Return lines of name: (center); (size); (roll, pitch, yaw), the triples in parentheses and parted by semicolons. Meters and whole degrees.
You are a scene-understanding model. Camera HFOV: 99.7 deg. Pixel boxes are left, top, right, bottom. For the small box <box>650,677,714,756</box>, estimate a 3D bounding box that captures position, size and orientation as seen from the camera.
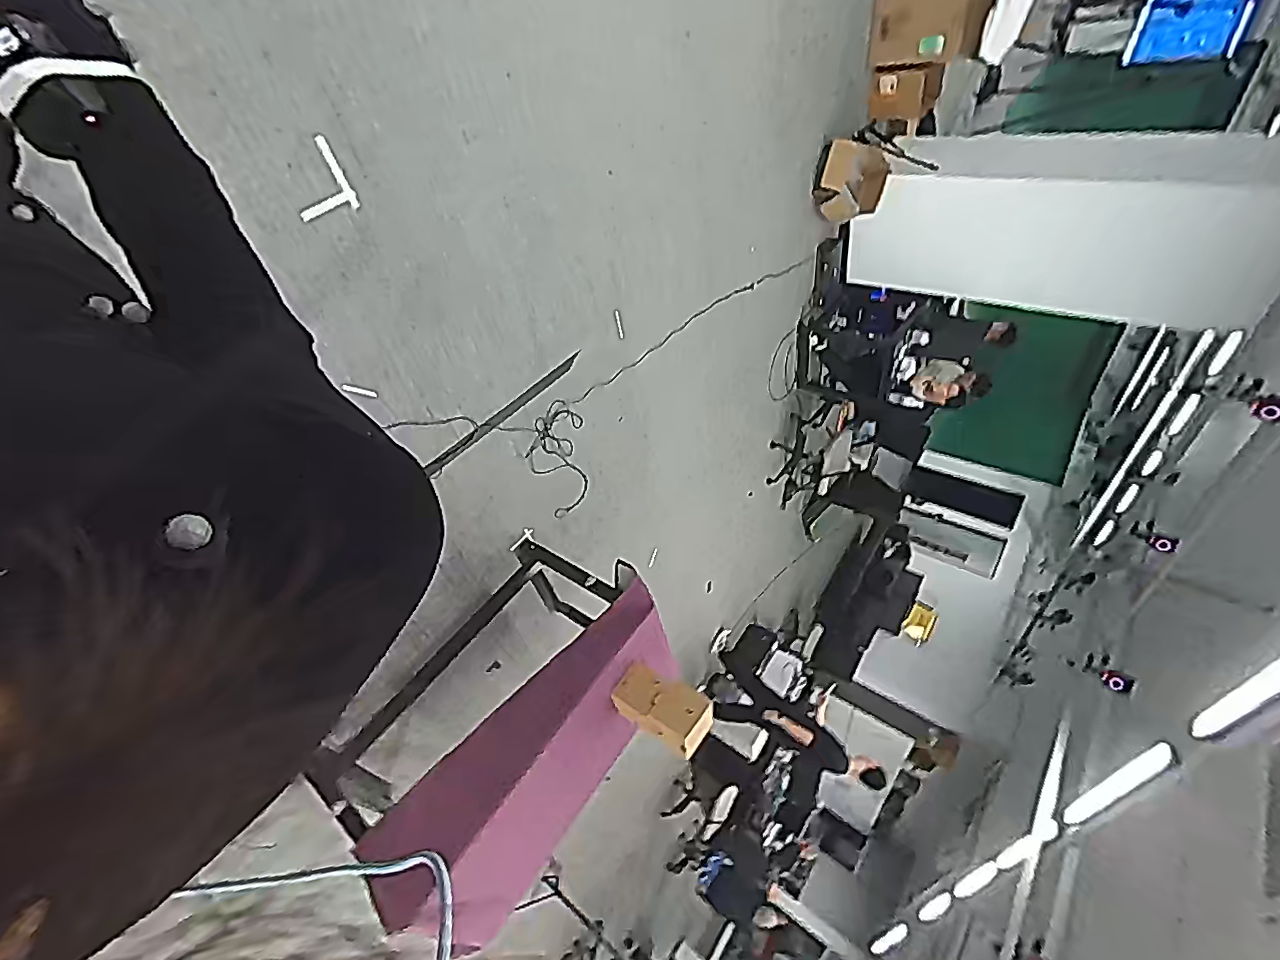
small box: (0.158, 0.871, 2.008); (0.179, 0.176, 0.168); (-42, 139, -35)
